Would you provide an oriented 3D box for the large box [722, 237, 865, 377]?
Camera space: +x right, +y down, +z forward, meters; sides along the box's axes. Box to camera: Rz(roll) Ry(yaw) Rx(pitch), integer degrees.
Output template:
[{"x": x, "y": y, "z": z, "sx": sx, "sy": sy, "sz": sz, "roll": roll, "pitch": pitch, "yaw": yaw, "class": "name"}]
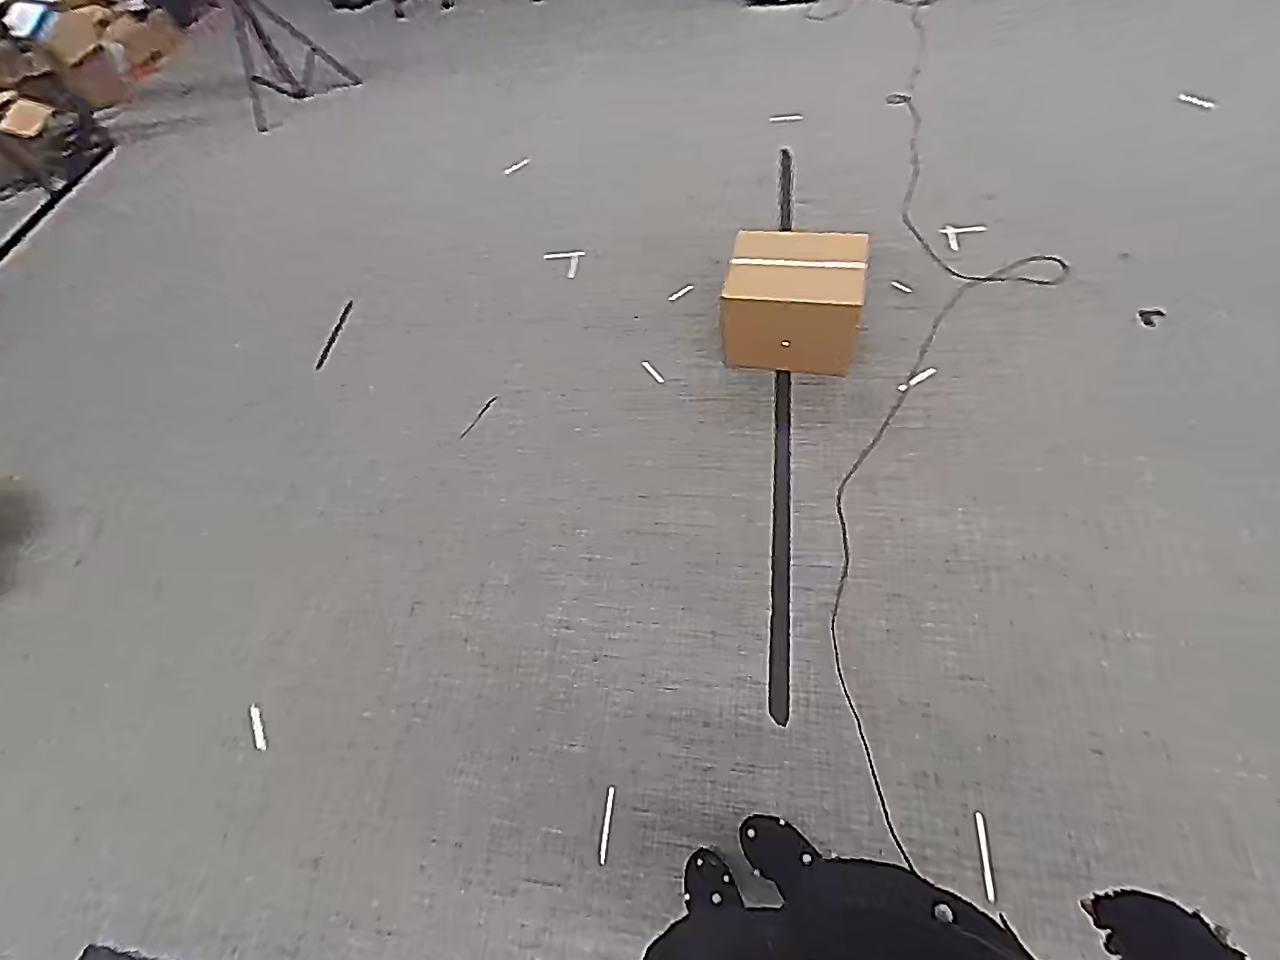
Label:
[{"x": 0.490, "y": -0.564, "z": 1.774, "sx": 0.408, "sy": 0.320, "sz": 0.320, "roll": 8, "pitch": 62, "yaw": 15, "class": "large box"}]
